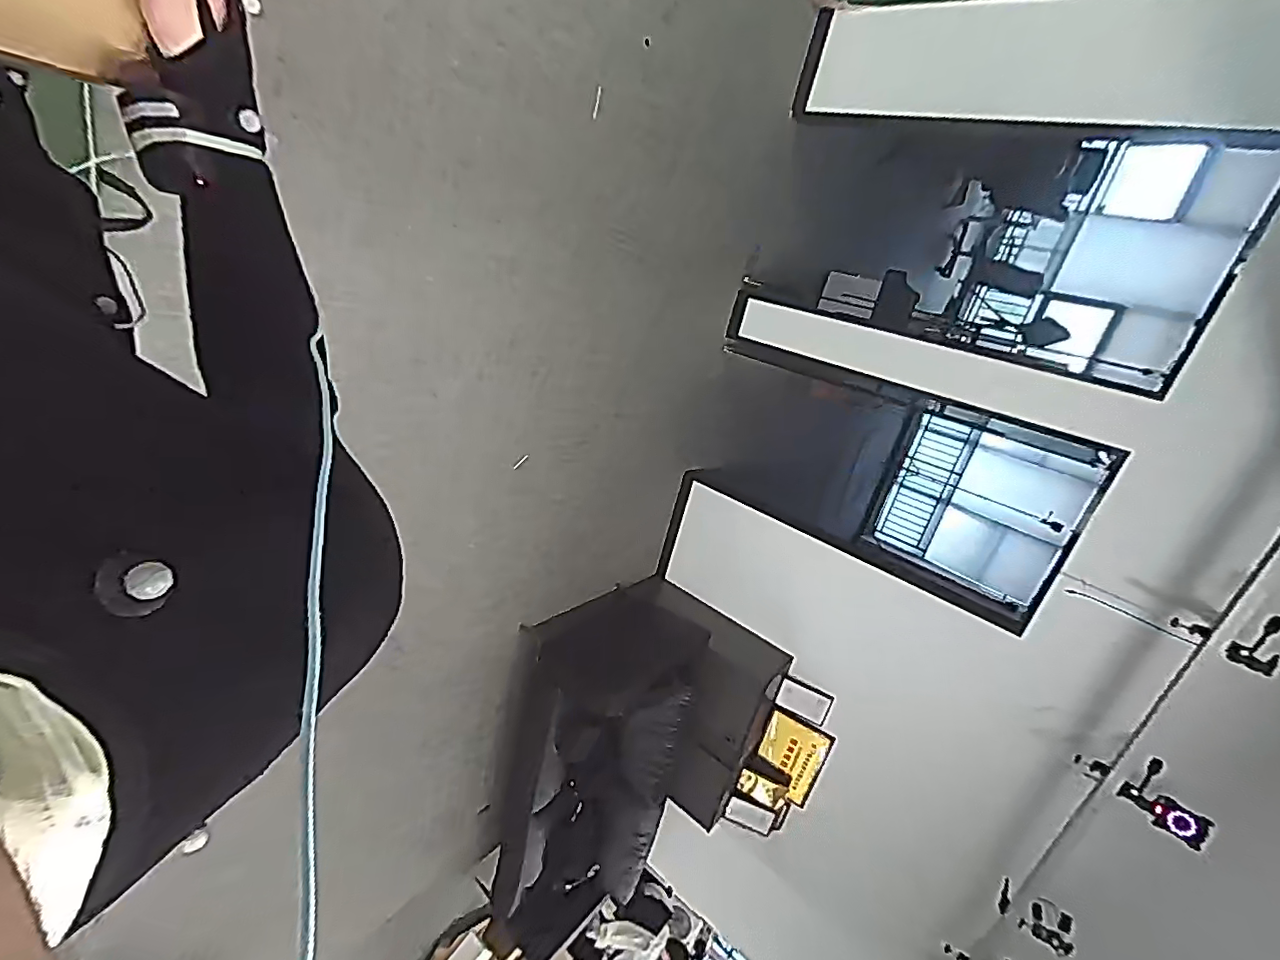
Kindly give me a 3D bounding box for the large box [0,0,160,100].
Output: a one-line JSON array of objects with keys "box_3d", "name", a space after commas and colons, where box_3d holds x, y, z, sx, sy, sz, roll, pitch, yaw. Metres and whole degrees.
[{"box_3d": [-0.588, -0.458, 0.300, 0.408, 0.320, 0.320, -16, 127, -50], "name": "large box"}]
